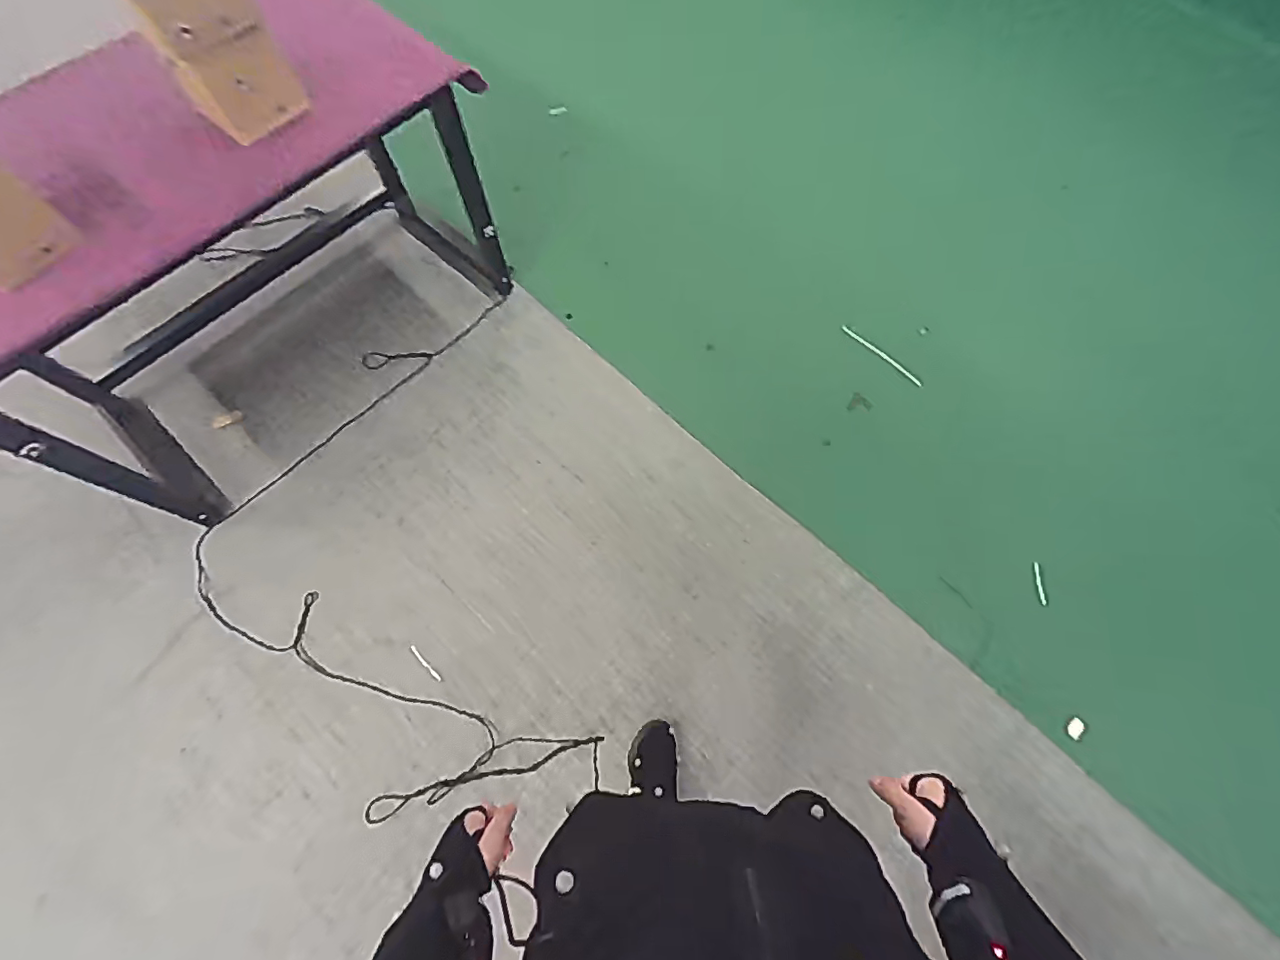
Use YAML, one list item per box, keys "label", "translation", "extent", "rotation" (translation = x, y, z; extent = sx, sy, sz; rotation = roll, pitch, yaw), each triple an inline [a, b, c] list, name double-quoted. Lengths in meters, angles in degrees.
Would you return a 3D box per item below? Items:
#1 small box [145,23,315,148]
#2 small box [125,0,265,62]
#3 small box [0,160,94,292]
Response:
- label: "small box"
  translation: [-0.796, -0.802, 1.071]
  extent: [0.179, 0.176, 0.168]
  rotation: [39, 74, 15]
- label: "small box"
  translation: [-0.791, -0.856, 0.915]
  extent: [0.179, 0.176, 0.168]
  rotation: [42, 75, 17]
- label: "small box"
  translation: [-1.138, -0.465, 0.940]
  extent: [0.179, 0.176, 0.168]
  rotation: [36, 74, 13]
